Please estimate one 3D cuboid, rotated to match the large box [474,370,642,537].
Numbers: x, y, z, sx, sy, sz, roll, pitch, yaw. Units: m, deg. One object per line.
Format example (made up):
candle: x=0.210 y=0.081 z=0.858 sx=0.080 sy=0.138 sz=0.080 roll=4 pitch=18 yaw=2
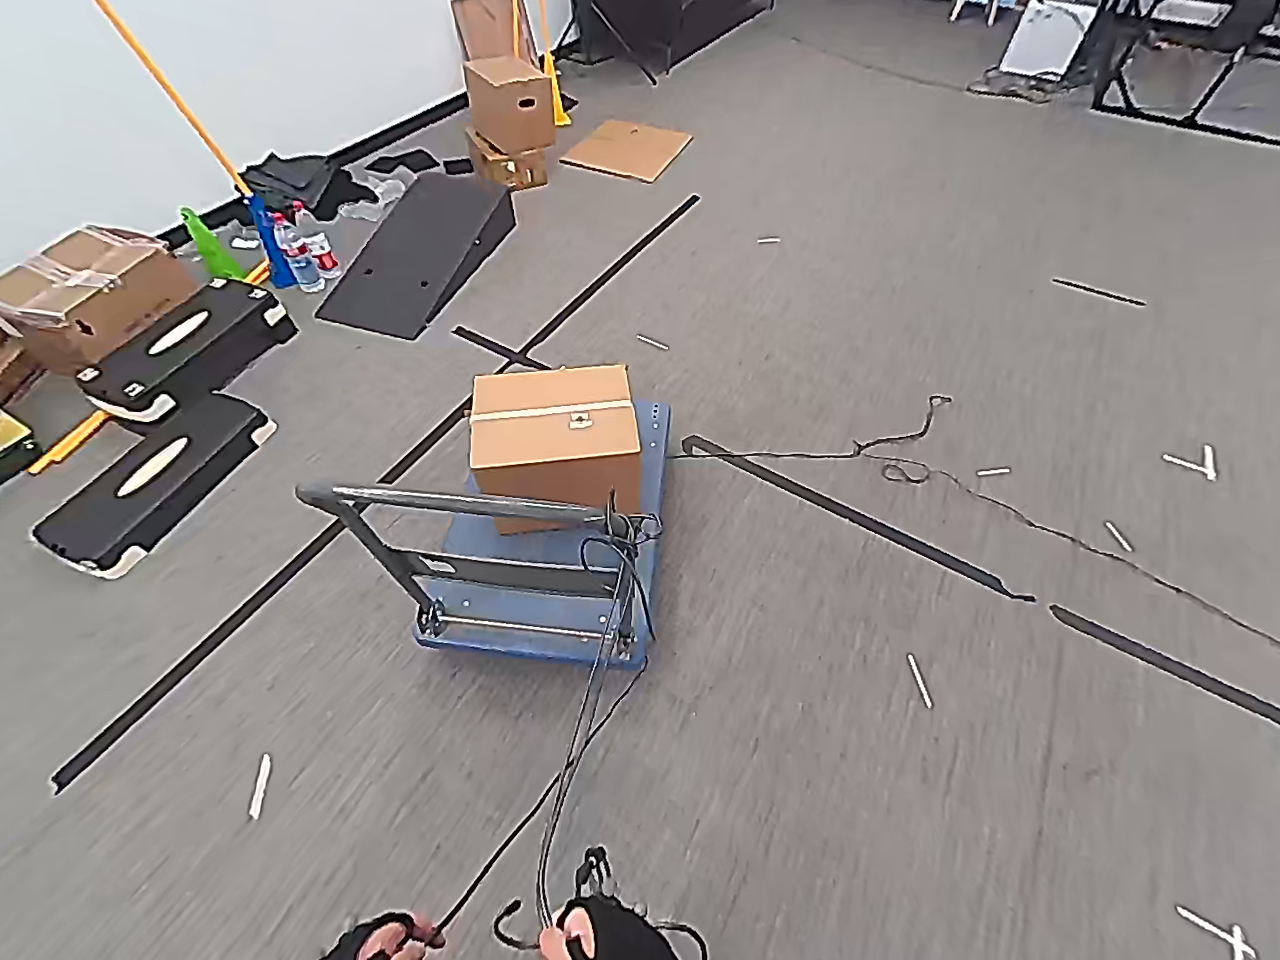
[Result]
large box: x=-0.218 y=-0.069 z=1.477 sx=0.408 sy=0.320 sz=0.320 roll=-6 pitch=54 yaw=-6
